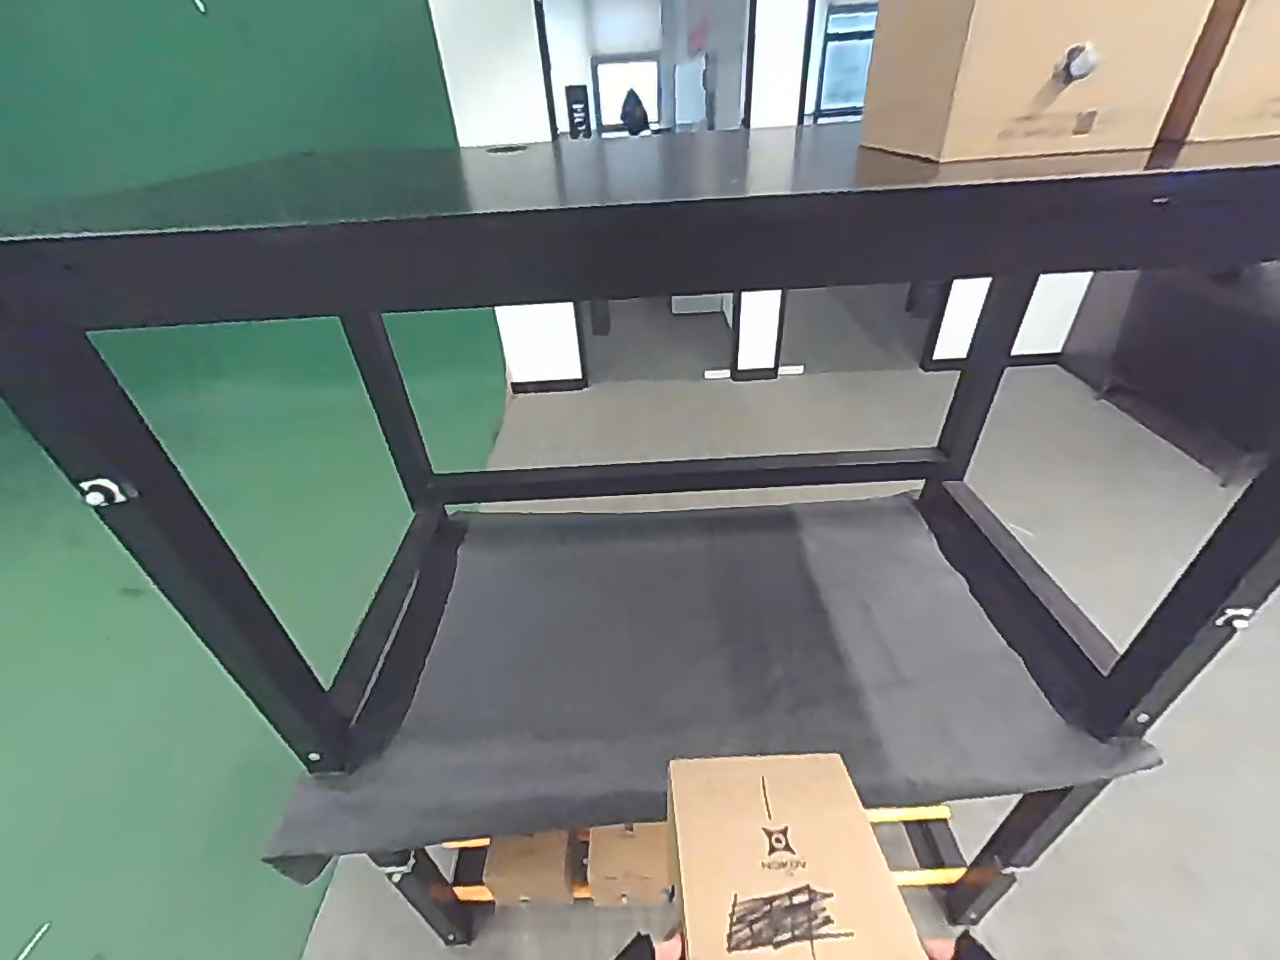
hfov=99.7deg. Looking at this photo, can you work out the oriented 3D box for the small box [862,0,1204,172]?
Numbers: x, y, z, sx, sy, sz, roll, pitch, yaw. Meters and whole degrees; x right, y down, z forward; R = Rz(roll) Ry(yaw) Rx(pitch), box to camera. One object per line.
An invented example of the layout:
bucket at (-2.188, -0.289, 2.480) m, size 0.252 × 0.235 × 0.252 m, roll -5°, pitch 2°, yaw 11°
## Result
small box at (0.301, -0.357, 0.442) m, size 0.168 × 0.176 × 0.179 m, roll -4°, pitch 36°, yaw 1°
